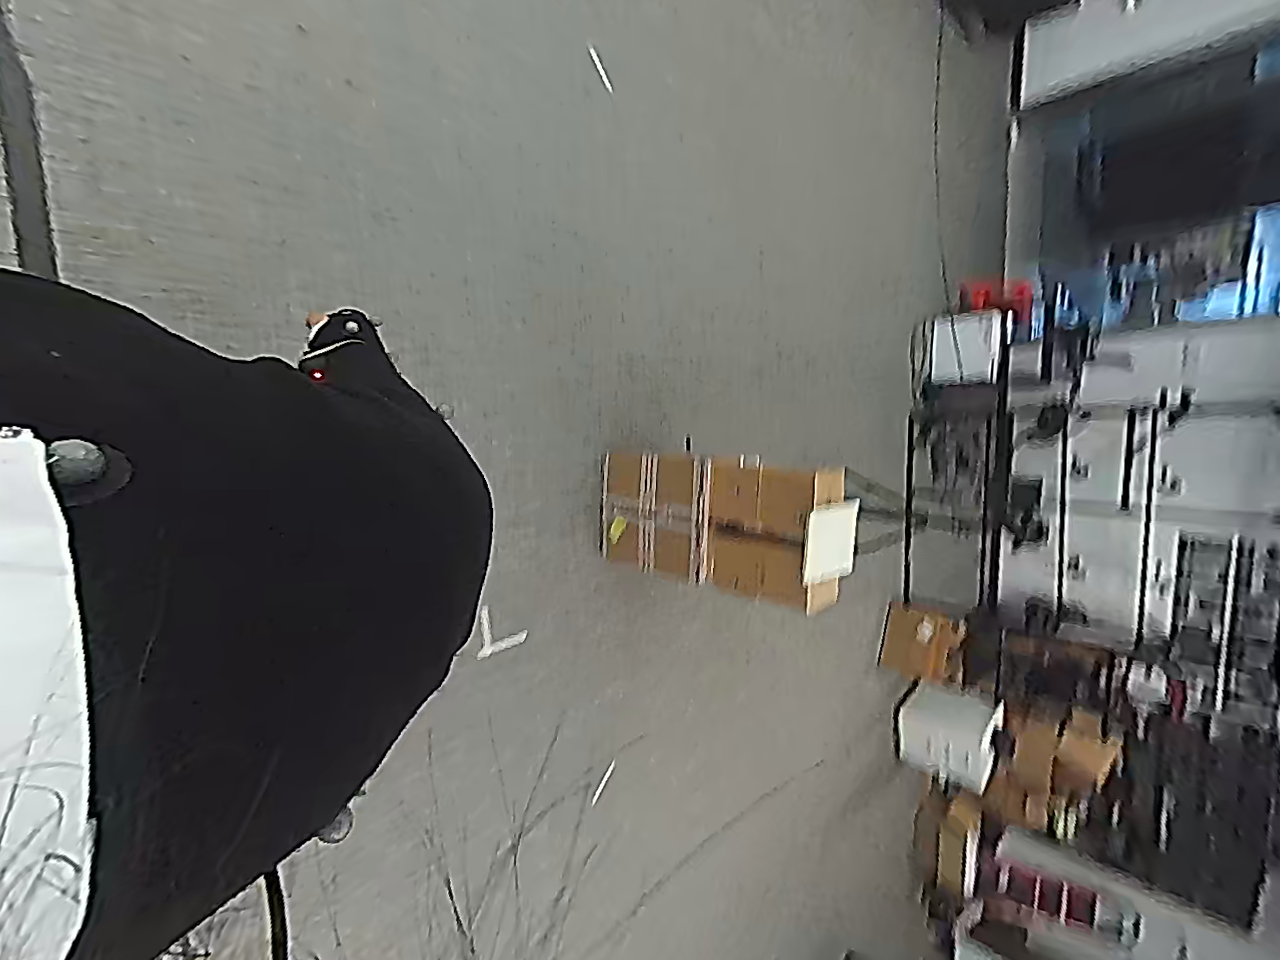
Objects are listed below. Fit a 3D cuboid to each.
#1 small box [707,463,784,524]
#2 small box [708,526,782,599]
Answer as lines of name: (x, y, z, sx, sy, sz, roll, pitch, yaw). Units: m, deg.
small box: (0.325, 0.040, 1.684, 0.168, 0.176, 0.179, 2, 92, -42)
small box: (0.329, 0.254, 1.709, 0.168, 0.176, 0.179, -10, 101, -42)
